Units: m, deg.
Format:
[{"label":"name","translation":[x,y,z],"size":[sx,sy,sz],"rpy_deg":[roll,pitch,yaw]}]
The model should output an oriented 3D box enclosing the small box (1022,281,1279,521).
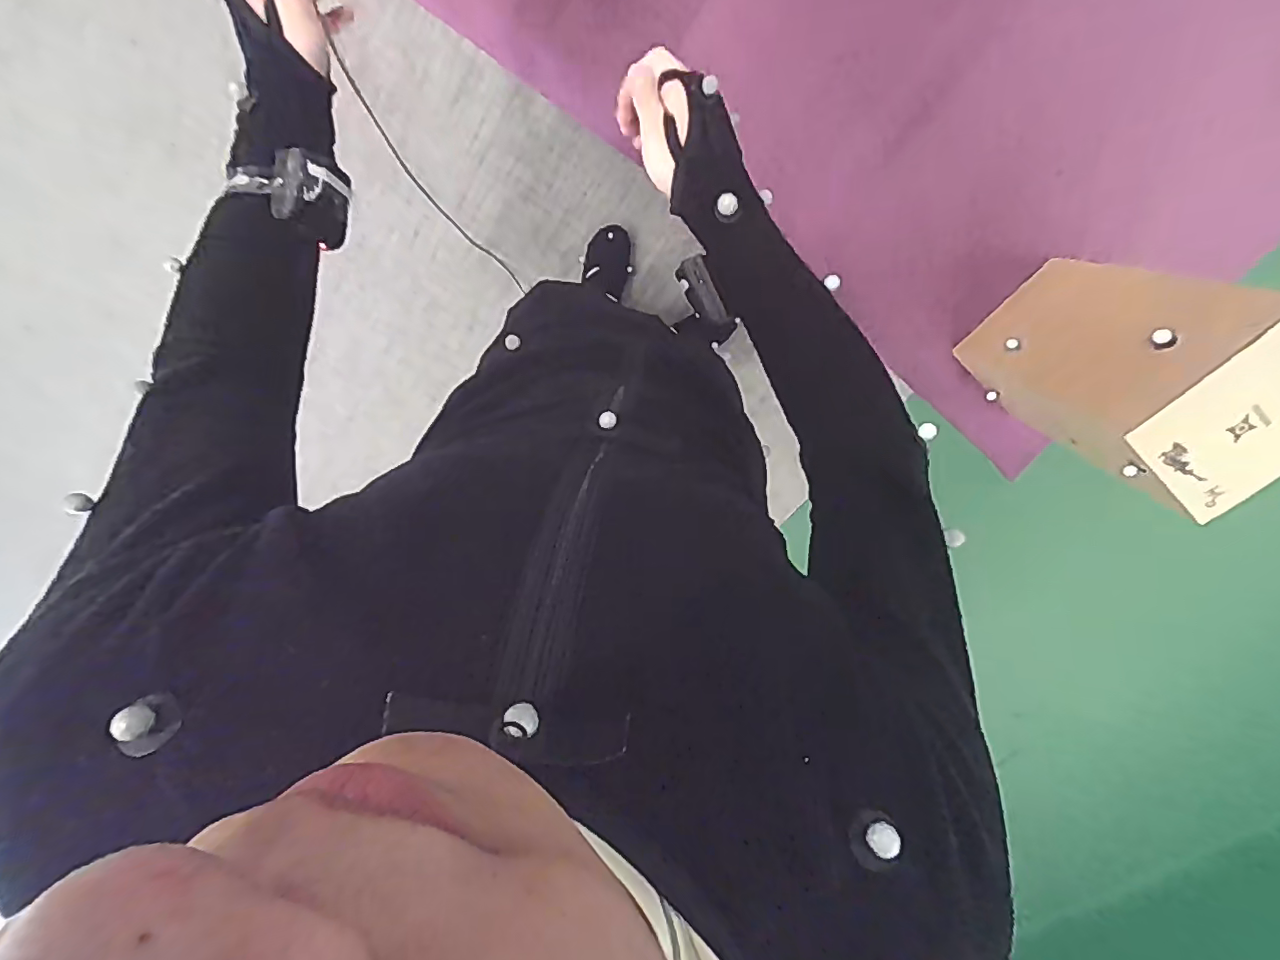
[{"label":"small box","translation":[0.586,-0.095,0.597],"size":[0.168,0.176,0.179],"rpy_deg":[36,111,-17]}]
